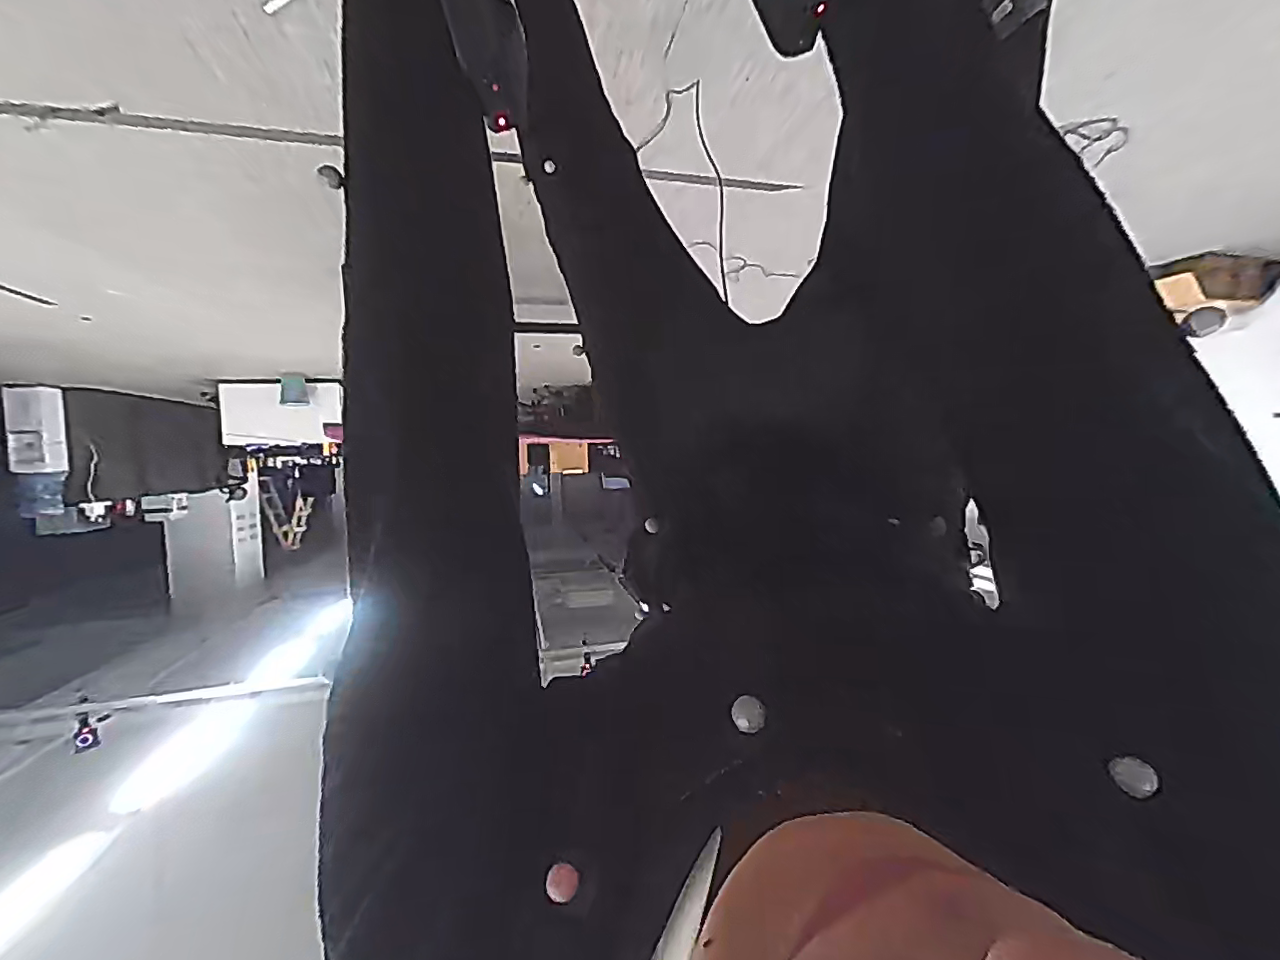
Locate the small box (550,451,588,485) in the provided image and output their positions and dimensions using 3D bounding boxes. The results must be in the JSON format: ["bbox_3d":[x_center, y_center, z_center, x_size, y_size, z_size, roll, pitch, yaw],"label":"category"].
[{"bbox_3d":[-0.376,-0.066,2.829,0.168,0.176,0.179,-2,-179,-21],"label":"small box"}]
